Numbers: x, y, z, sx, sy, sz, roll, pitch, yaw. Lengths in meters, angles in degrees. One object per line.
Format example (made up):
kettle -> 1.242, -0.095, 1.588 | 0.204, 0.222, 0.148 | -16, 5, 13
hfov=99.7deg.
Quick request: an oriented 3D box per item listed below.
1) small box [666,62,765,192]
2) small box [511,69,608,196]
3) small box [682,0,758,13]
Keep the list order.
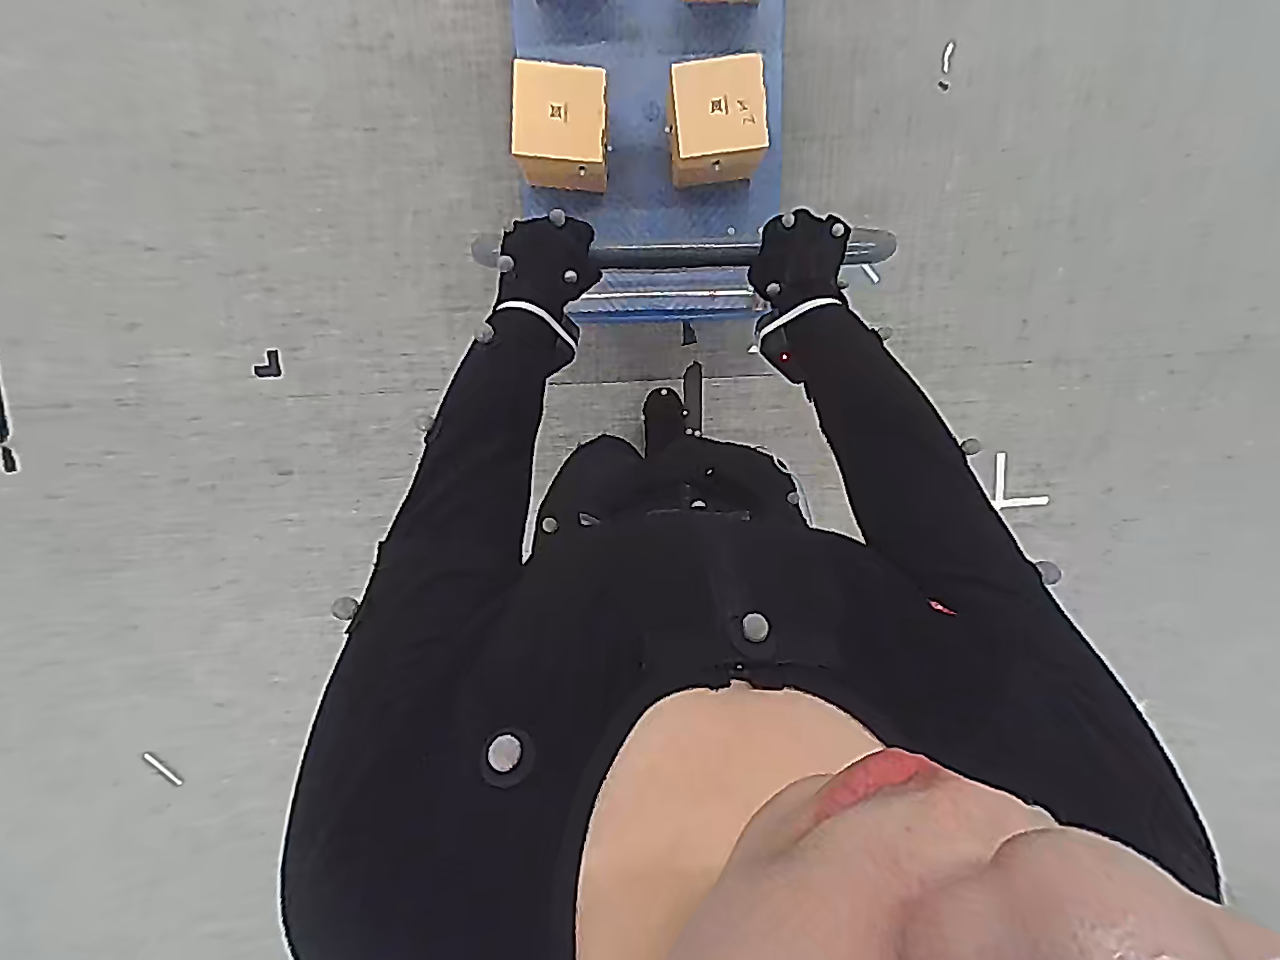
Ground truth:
small box -> 0.147, -0.715, 1.115 | 0.179, 0.176, 0.168 | -7, 101, 0
small box -> -0.159, -0.702, 1.112 | 0.179, 0.176, 0.168 | 3, 100, -3
small box -> 0.167, -1.064, 1.051 | 0.168, 0.176, 0.179 | -1, 102, -1
